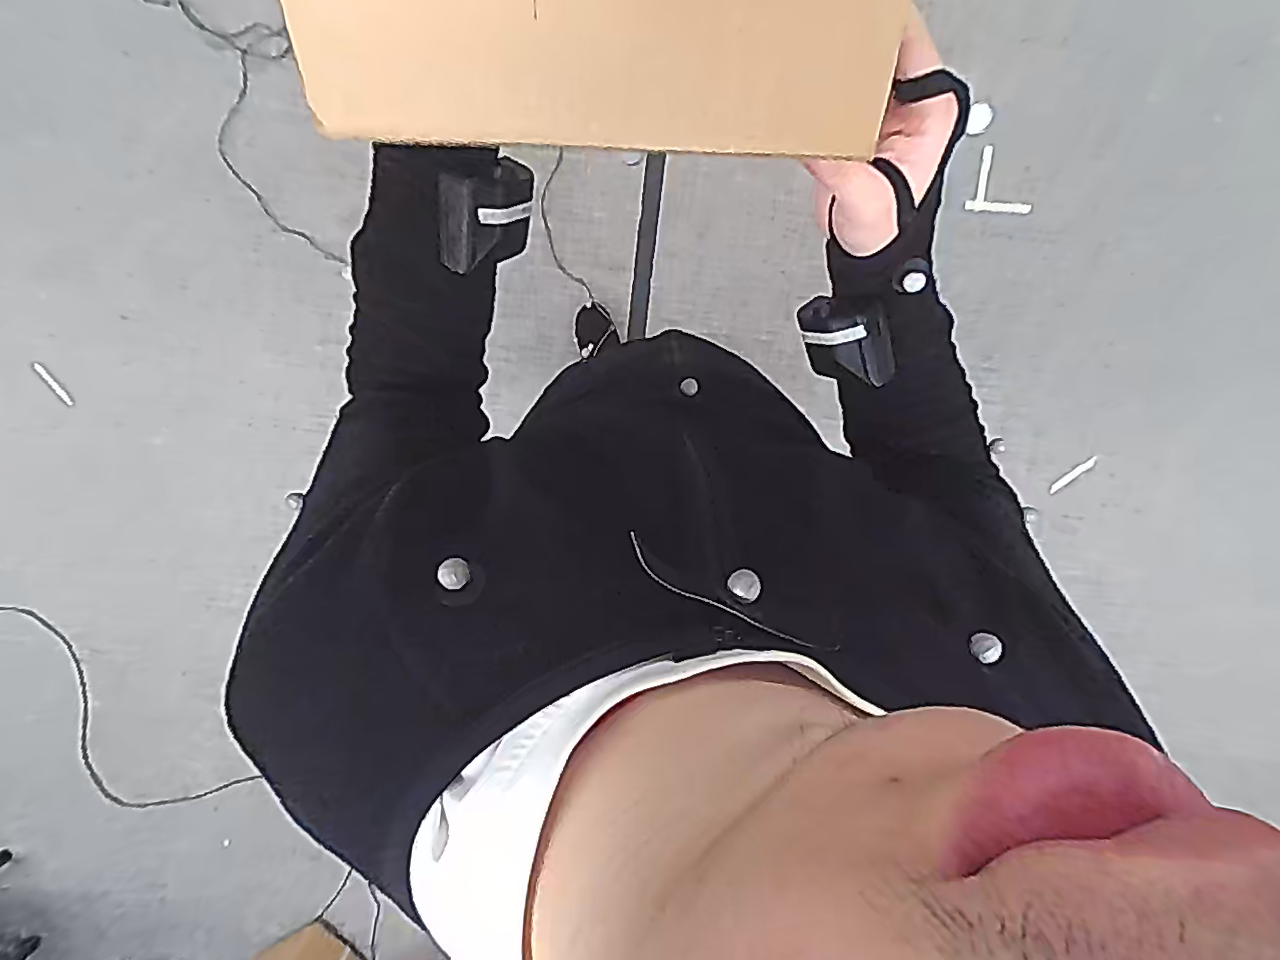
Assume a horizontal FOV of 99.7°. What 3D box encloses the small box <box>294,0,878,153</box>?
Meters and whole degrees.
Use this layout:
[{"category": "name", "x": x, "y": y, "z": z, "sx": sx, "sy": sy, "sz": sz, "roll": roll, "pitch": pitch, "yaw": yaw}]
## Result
[{"category": "small box", "x": -0.003, "y": -0.219, "z": 0.175, "sx": 0.168, "sy": 0.176, "sz": 0.179, "roll": 8, "pitch": 129, "yaw": 11}]
